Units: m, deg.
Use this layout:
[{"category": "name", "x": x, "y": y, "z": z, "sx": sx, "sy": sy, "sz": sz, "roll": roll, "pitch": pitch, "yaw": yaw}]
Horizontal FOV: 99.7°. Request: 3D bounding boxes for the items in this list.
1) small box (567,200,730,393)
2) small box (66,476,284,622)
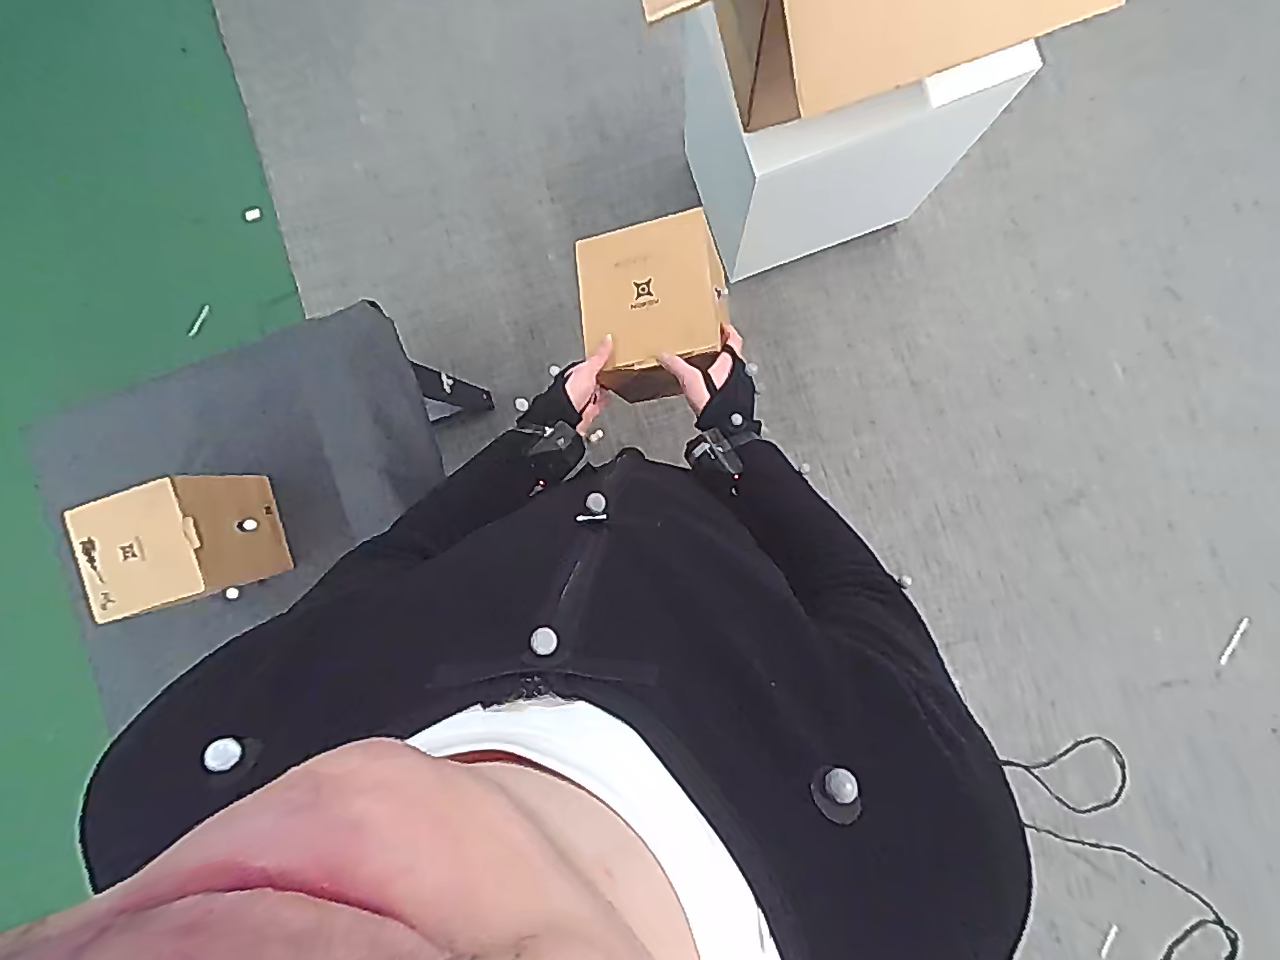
[{"category": "small box", "x": 0.019, "y": -0.222, "z": 0.713, "sx": 0.168, "sy": 0.176, "sz": 0.179, "roll": -9, "pitch": 82, "yaw": 16}, {"category": "small box", "x": -0.683, "y": 0.093, "z": 0.821, "sx": 0.179, "sy": 0.176, "sz": 0.168, "roll": -17, "pitch": 90, "yaw": 4}]
